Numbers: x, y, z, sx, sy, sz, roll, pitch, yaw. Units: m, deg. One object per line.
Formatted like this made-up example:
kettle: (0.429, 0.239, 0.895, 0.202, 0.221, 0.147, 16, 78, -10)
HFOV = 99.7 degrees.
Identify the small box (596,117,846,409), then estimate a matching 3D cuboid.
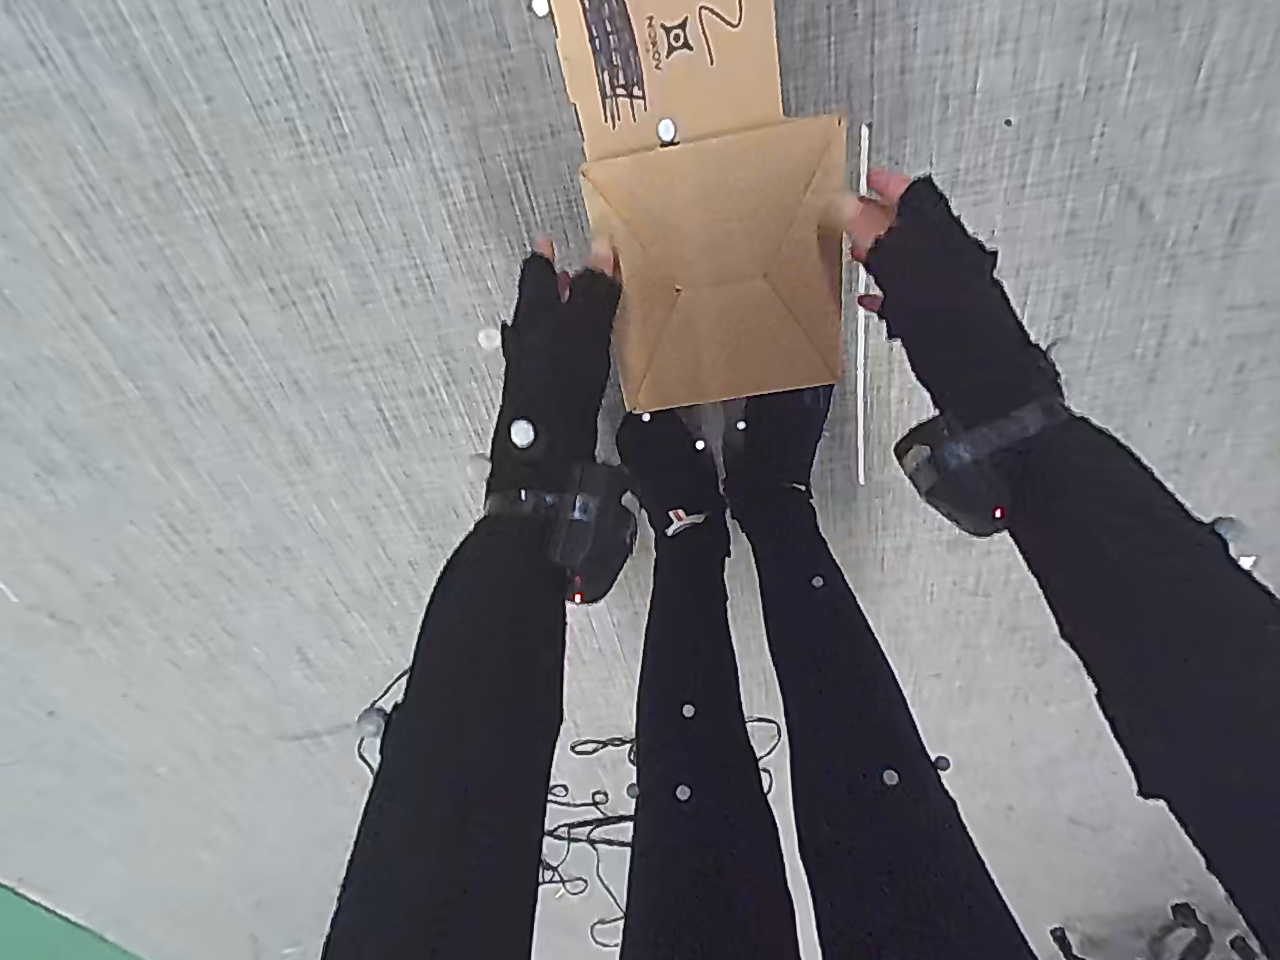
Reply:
small box: (0.061, -0.180, 0.444, 0.168, 0.176, 0.179, -8, 121, 6)
